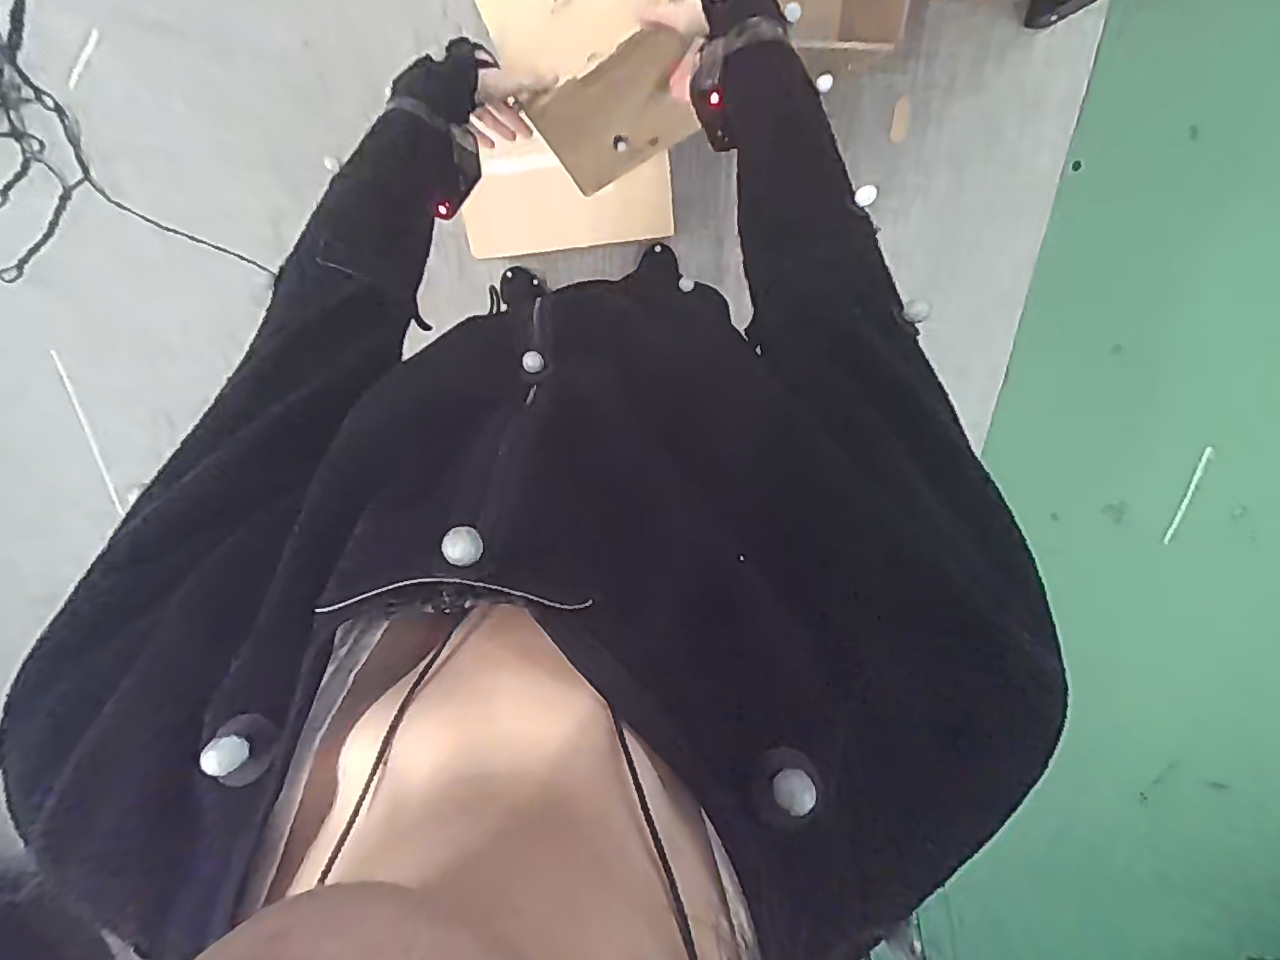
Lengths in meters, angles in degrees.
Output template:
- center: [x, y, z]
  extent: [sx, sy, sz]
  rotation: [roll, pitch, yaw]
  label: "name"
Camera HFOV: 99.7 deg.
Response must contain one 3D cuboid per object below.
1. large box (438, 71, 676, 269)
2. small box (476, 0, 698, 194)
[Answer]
- center: [-0.149, -0.635, 1.139]
  extent: [0.408, 0.320, 0.320]
  rotation: [-7, 112, 1]
  label: "large box"
- center: [-0.052, -0.463, 0.593]
  extent: [0.168, 0.176, 0.179]
  rotation: [-26, 84, 14]
  label: "small box"
